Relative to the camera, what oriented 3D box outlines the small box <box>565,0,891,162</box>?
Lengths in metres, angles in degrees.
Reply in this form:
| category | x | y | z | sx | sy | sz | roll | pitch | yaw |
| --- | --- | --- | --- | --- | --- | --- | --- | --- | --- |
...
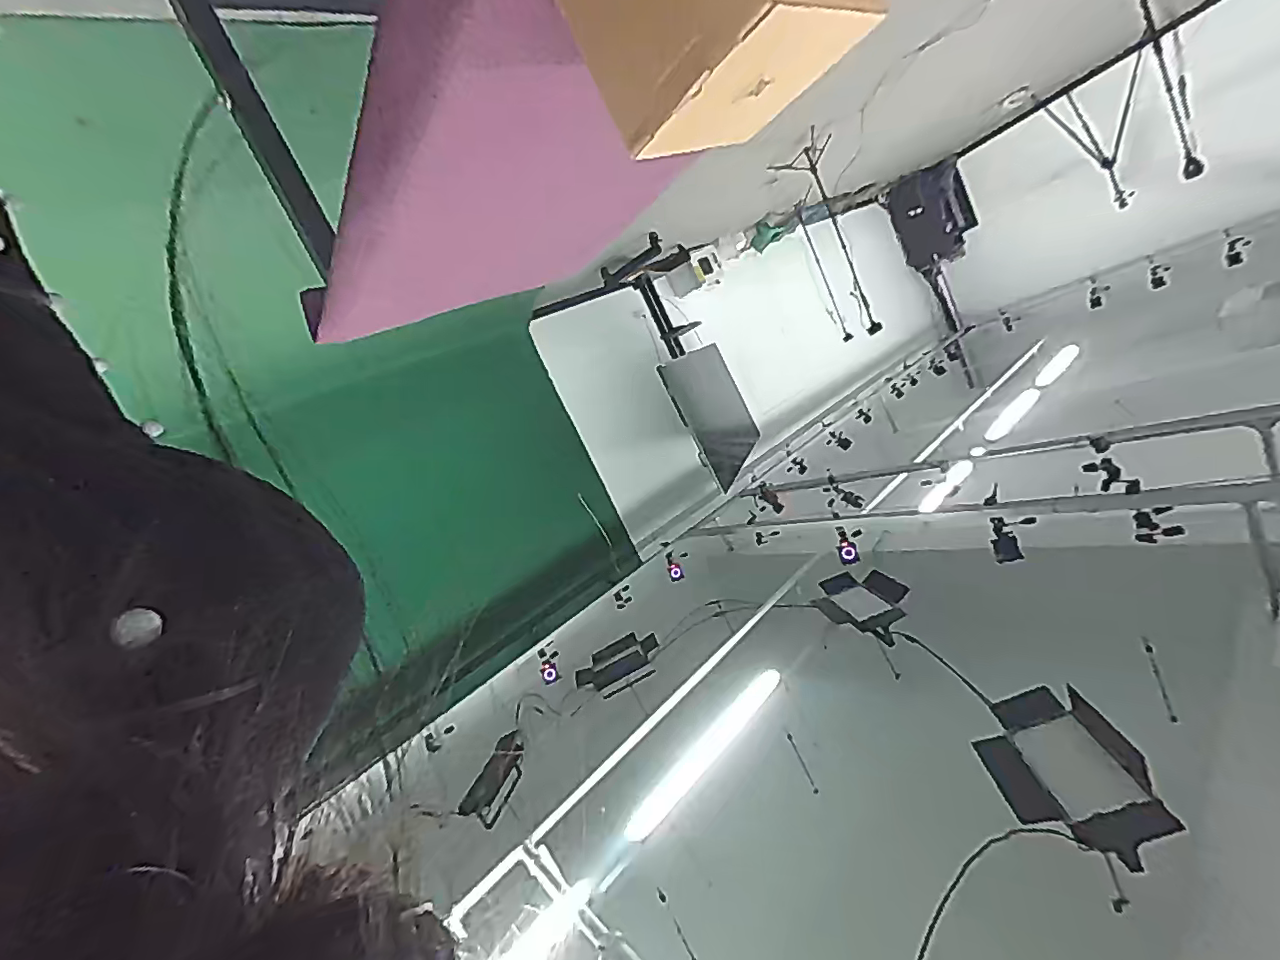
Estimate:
| category | x | y | z | sx | sy | sz | roll | pitch | yaw |
| --- | --- | --- | --- | --- | --- | --- | --- | --- | --- |
| small box | 0.063 | -0.396 | 0.436 | 0.179 | 0.176 | 0.168 | -32 | -169 | -34 |
